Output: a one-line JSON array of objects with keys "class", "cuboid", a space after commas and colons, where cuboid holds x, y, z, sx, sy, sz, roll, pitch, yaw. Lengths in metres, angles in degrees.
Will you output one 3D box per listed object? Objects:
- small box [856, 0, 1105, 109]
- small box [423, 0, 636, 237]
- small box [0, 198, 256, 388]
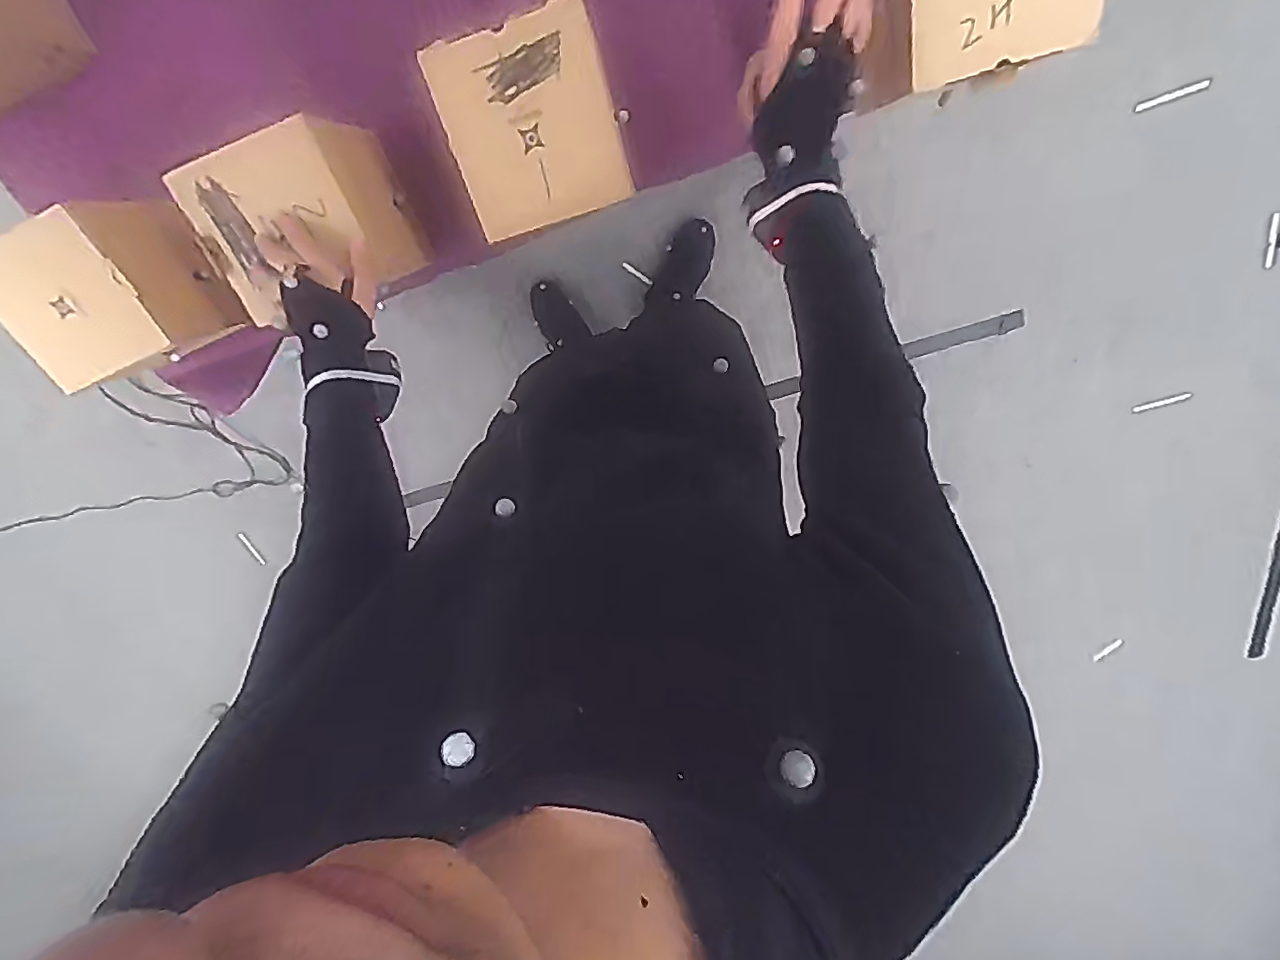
[{"class": "small box", "cuboid": [0.320, -0.499, 0.534, 0.168, 0.176, 0.179, -11, 117, 9]}, {"class": "small box", "cuboid": [-0.105, -0.390, 0.605, 0.168, 0.176, 0.179, -14, 118, 9]}, {"class": "small box", "cuboid": [-0.659, -0.243, 0.698, 0.179, 0.176, 0.168, -20, 116, 10]}]
